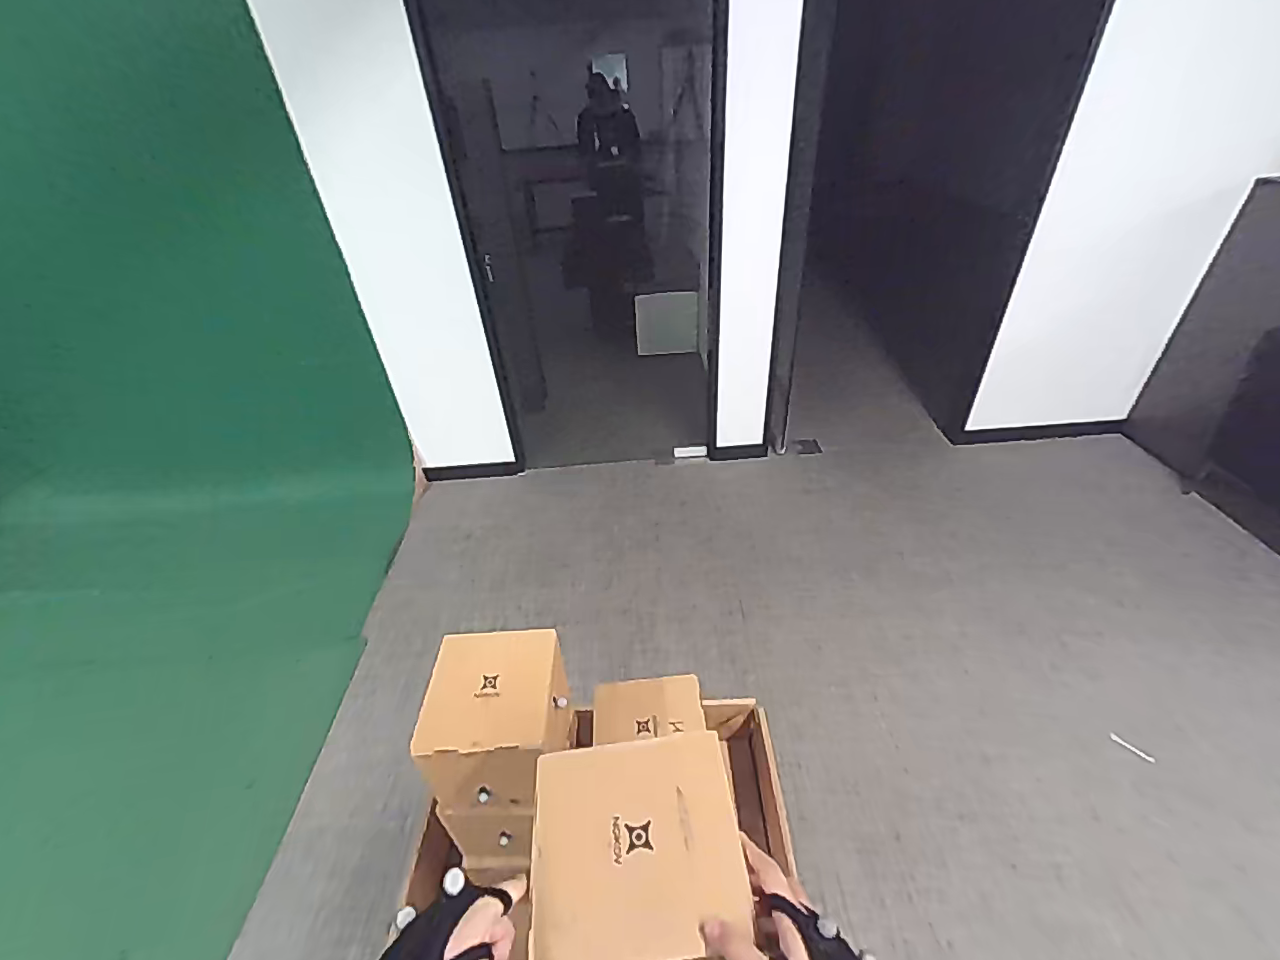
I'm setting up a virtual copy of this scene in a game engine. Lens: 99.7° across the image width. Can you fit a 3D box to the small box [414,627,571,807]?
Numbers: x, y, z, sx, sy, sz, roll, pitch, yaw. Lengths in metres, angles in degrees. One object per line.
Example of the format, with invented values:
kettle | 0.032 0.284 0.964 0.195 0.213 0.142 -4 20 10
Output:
small box | -0.193 0.334 0.769 0.168 0.176 0.179 -3 37 0
